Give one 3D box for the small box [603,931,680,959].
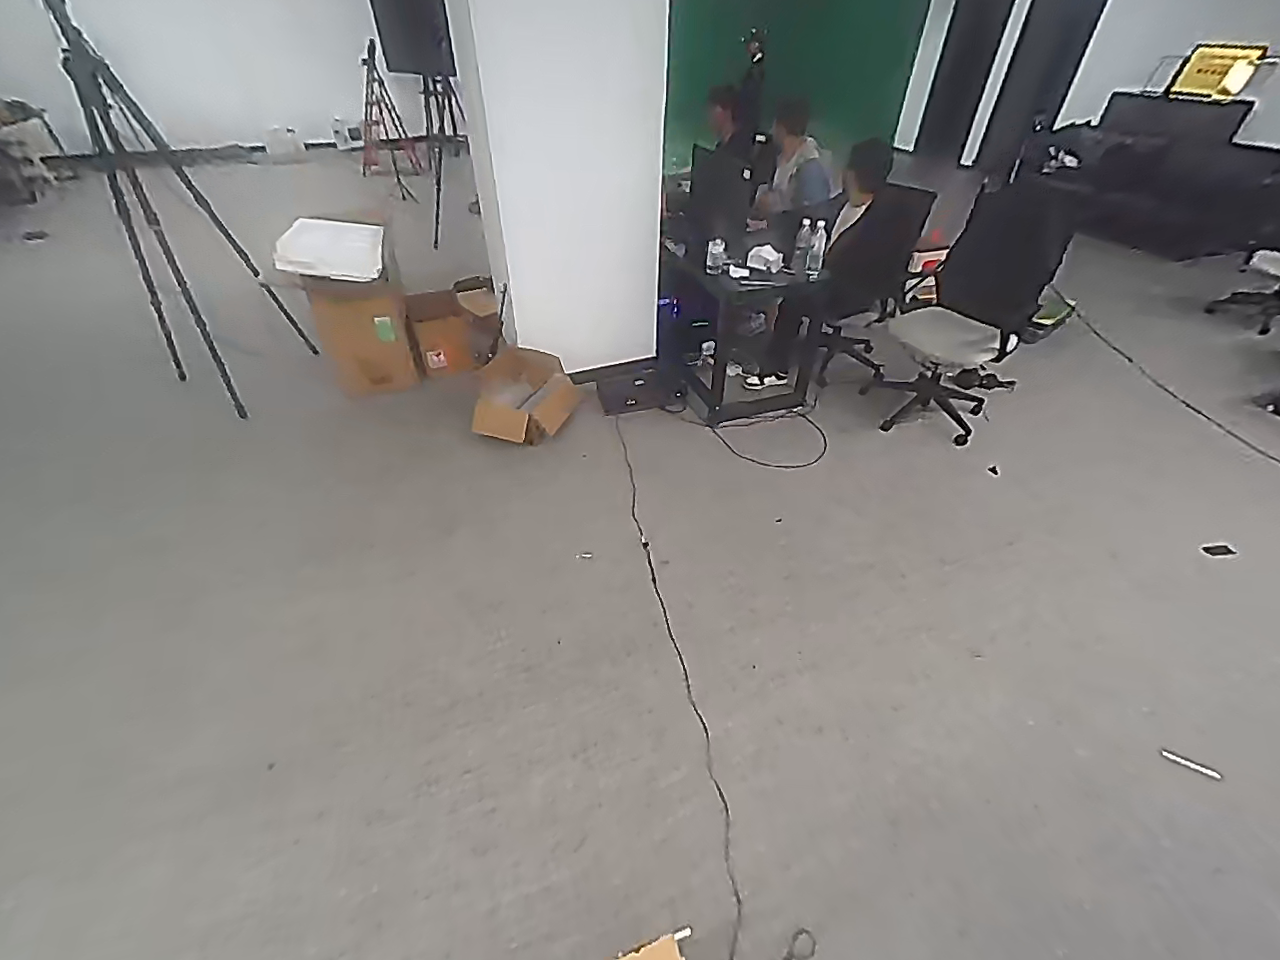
[{"bbox_3d":[0.018,1.099,1.132,0.168,0.176,0.179,-13,43,-14],"label":"small box"}]
